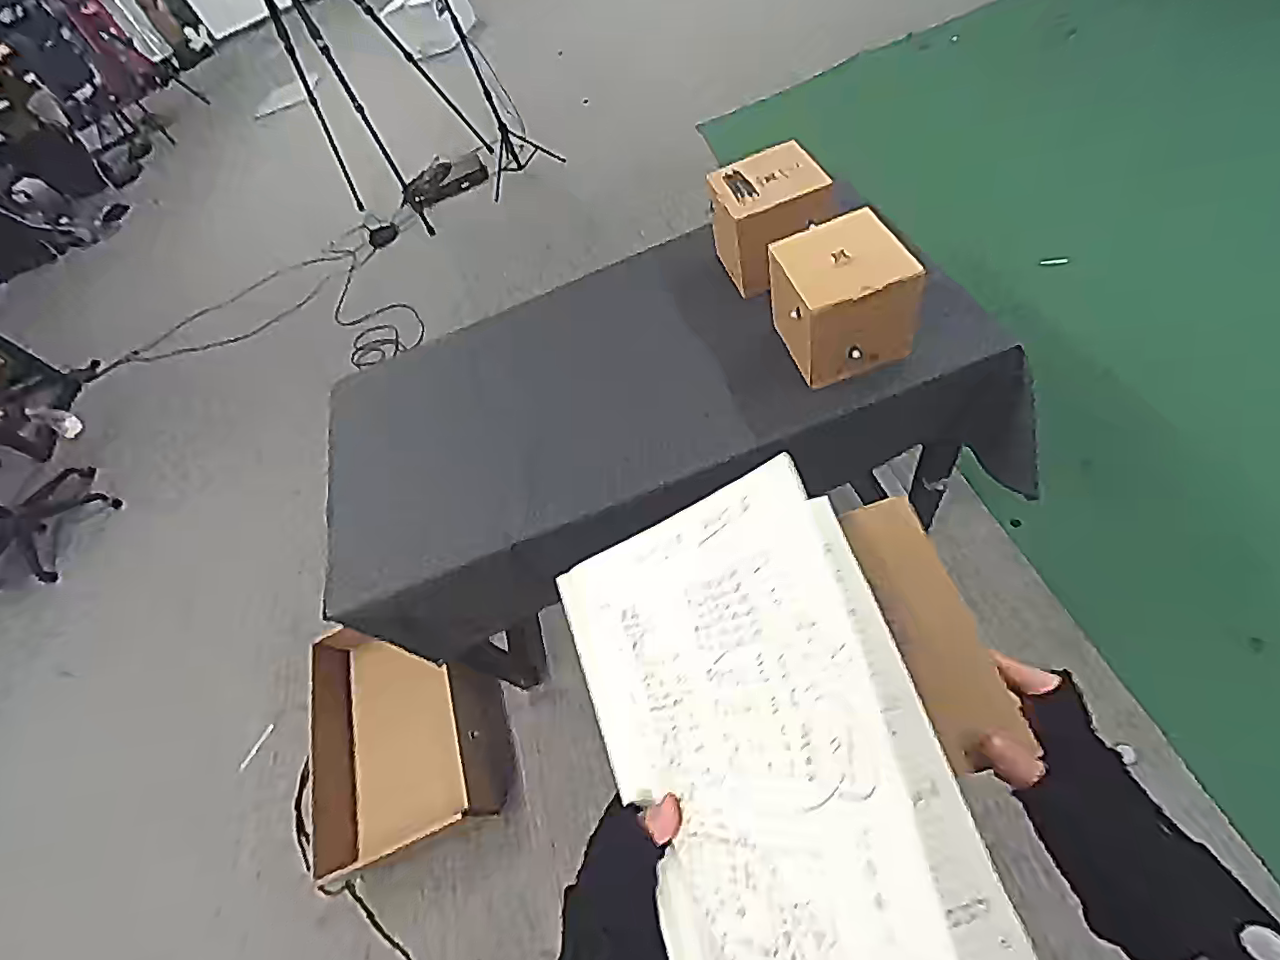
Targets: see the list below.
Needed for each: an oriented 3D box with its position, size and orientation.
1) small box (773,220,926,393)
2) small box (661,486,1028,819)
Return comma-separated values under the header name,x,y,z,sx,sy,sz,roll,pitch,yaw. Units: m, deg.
name,x,y,z,sx,sy,sz,roll,pitch,yaw
small box,0.323,-0.273,0.868,0.168,0.176,0.179,-19,54,5
small box,0.135,0.130,0.411,0.179,0.176,0.168,-20,66,7
